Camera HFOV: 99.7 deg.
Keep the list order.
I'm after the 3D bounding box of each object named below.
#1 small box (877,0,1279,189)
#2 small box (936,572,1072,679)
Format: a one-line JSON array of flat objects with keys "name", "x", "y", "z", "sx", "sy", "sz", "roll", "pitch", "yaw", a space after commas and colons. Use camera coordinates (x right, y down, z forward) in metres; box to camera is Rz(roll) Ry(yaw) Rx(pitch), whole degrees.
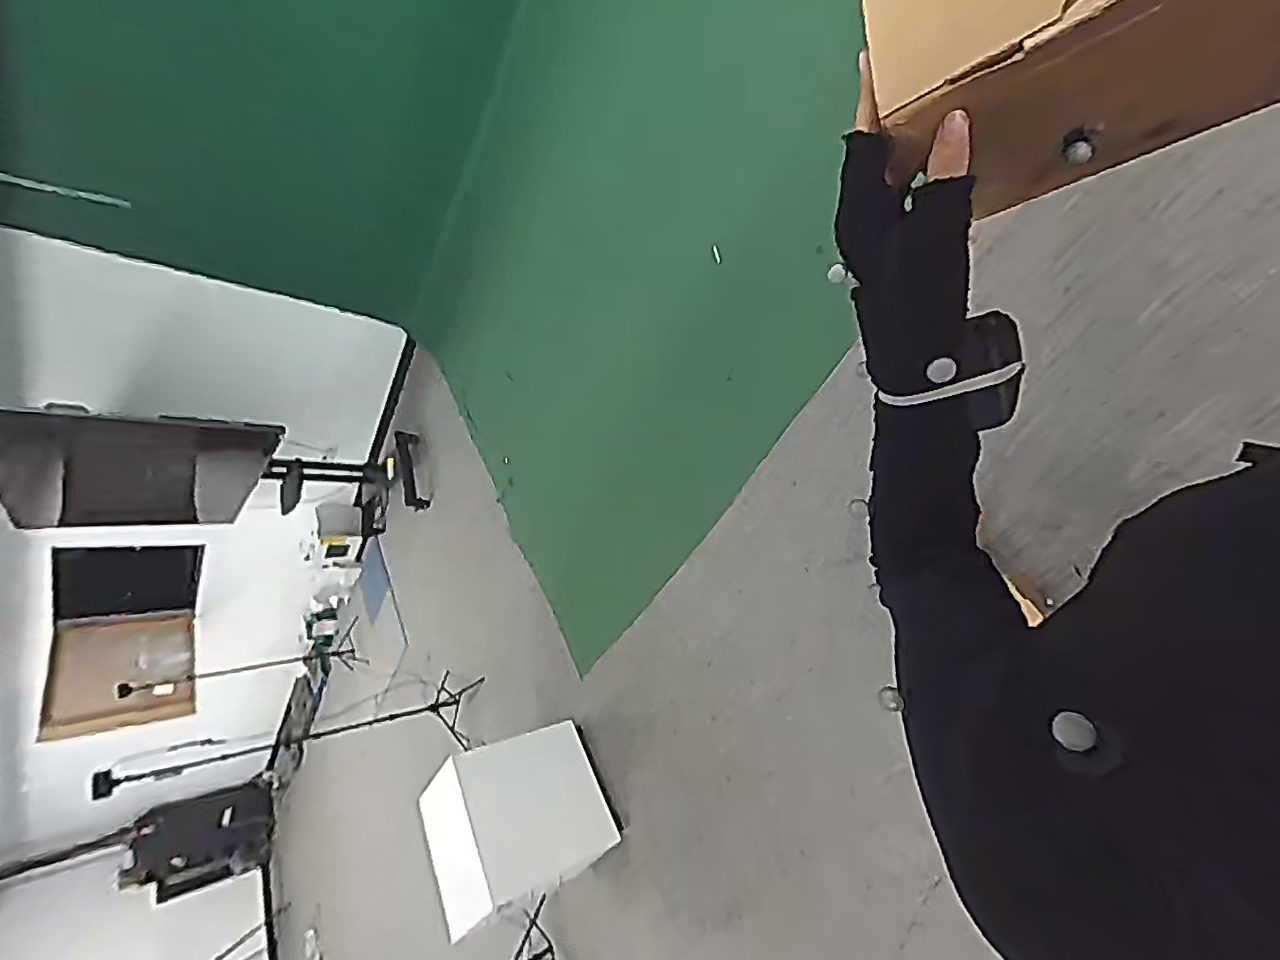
[{"name": "small box", "x": 0.229, "y": -0.292, "z": 0.276, "sx": 0.168, "sy": 0.176, "sz": 0.179, "roll": -9, "pitch": 86, "yaw": 44}, {"name": "small box", "x": 0.813, "y": 0.320, "z": 1.207, "sx": 0.179, "sy": 0.176, "sz": 0.168, "roll": -48, "pitch": 55, "yaw": 32}]
